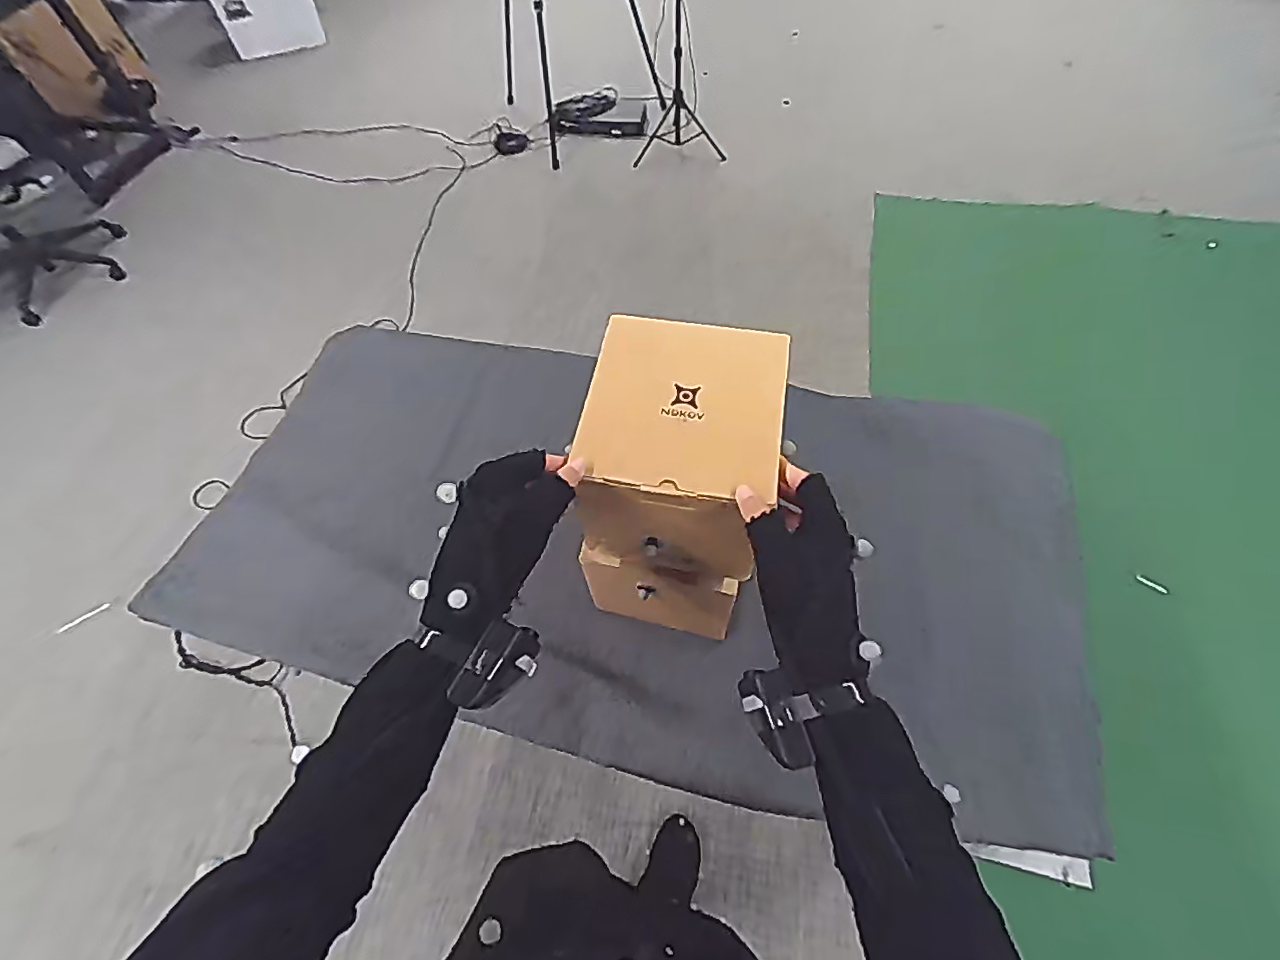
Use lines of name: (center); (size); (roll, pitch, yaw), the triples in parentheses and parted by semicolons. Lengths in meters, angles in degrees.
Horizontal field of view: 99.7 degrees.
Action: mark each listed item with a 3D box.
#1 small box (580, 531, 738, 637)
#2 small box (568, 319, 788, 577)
small box: (0.041, 0.084, 0.690); (0.179, 0.176, 0.168); (12, 59, 10)
small box: (0.039, -0.025, 0.526); (0.168, 0.176, 0.179); (9, 62, 7)
